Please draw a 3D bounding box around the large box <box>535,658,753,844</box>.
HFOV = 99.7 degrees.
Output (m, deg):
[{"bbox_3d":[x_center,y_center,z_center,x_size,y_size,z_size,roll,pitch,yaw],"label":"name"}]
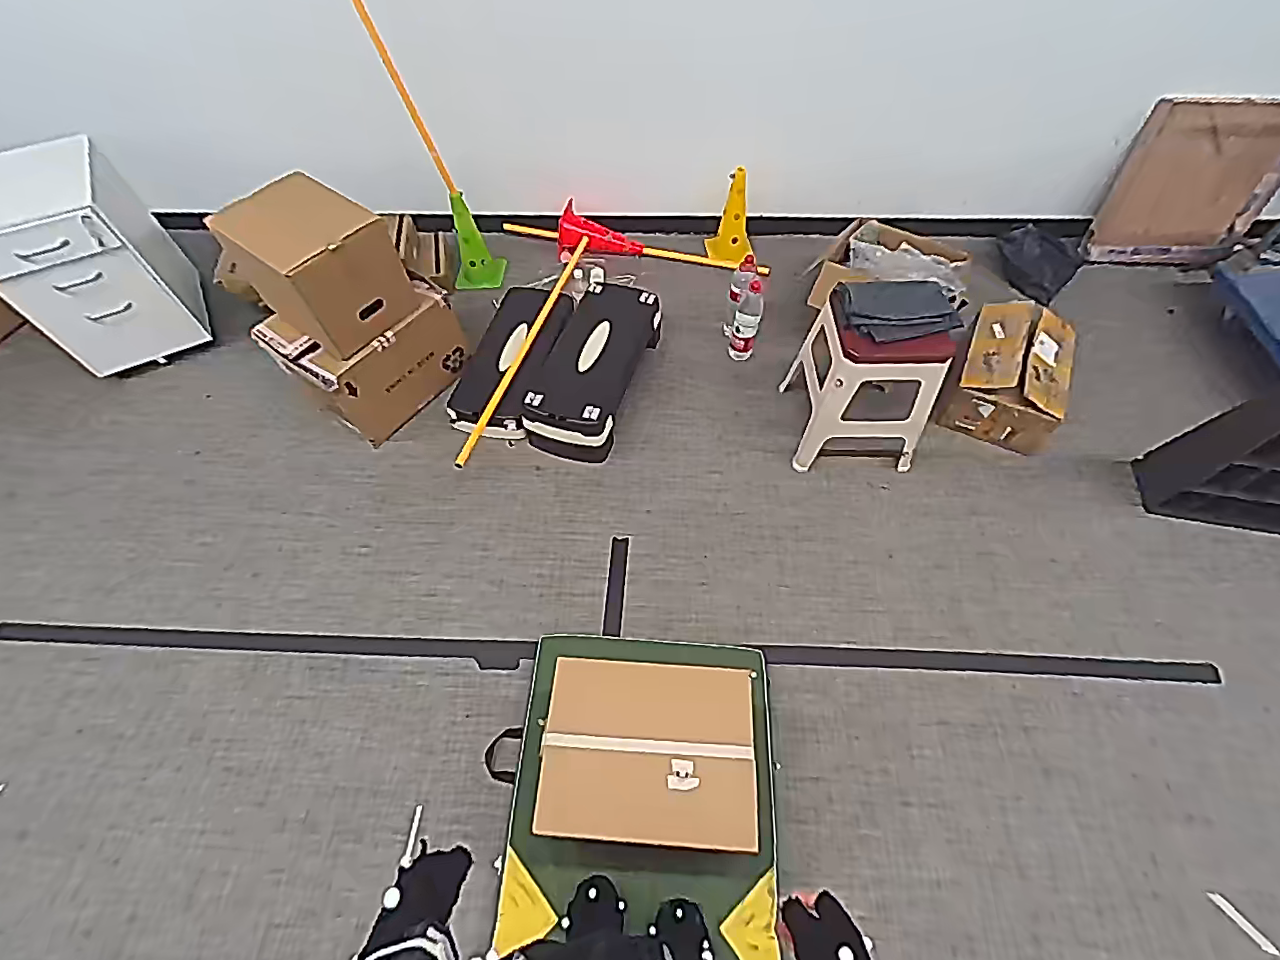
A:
[{"bbox_3d":[0.011,0.595,1.177,0.408,0.320,0.320,3,57,2],"label":"large box"}]
